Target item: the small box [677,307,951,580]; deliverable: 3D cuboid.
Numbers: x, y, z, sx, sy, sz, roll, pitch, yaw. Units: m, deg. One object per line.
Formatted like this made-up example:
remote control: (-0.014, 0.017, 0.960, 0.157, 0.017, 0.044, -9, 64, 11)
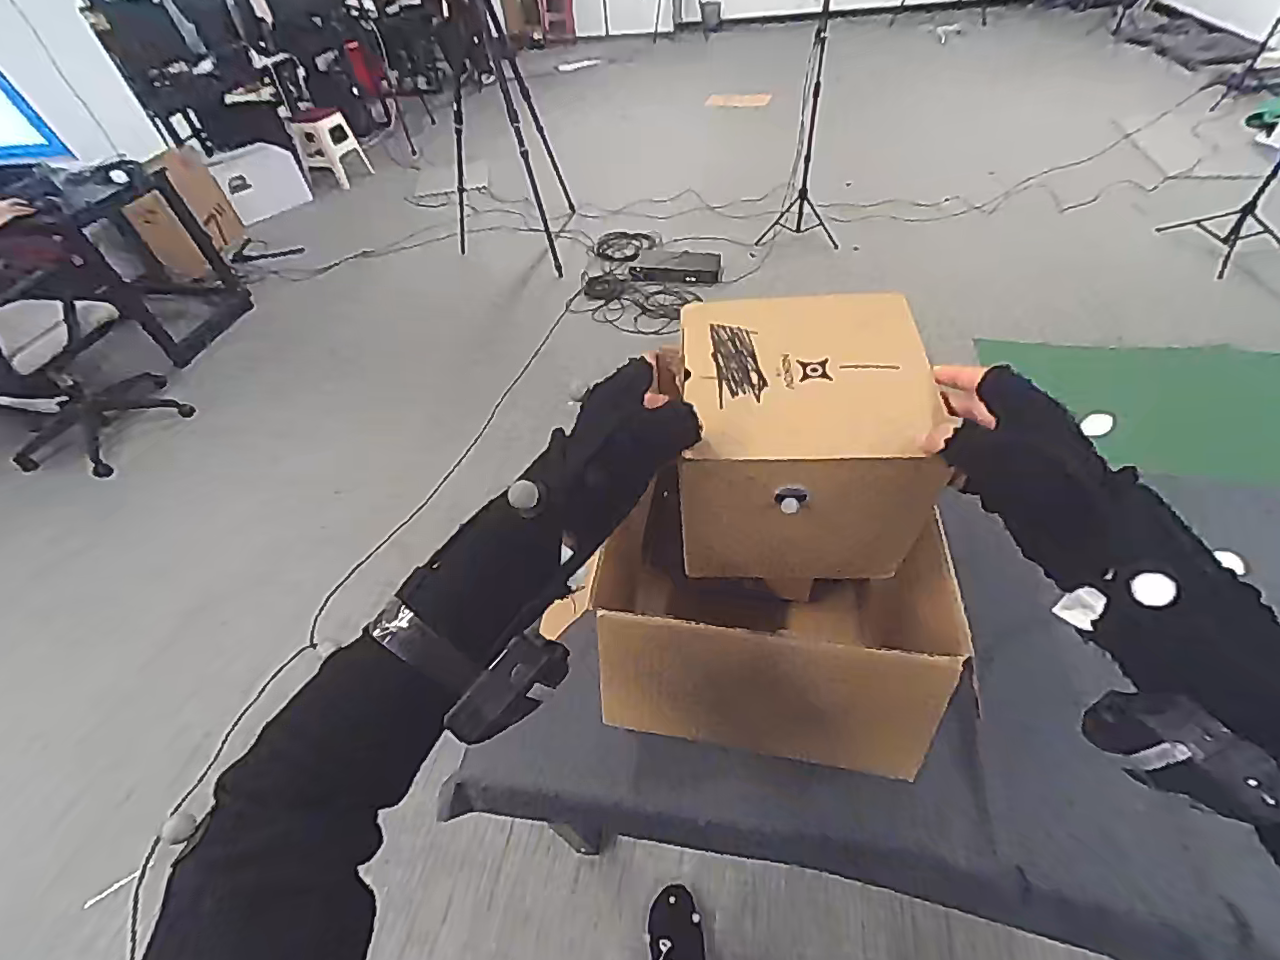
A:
small box: (0.125, -0.024, 0.459, 0.179, 0.176, 0.168, 0, 54, 7)
